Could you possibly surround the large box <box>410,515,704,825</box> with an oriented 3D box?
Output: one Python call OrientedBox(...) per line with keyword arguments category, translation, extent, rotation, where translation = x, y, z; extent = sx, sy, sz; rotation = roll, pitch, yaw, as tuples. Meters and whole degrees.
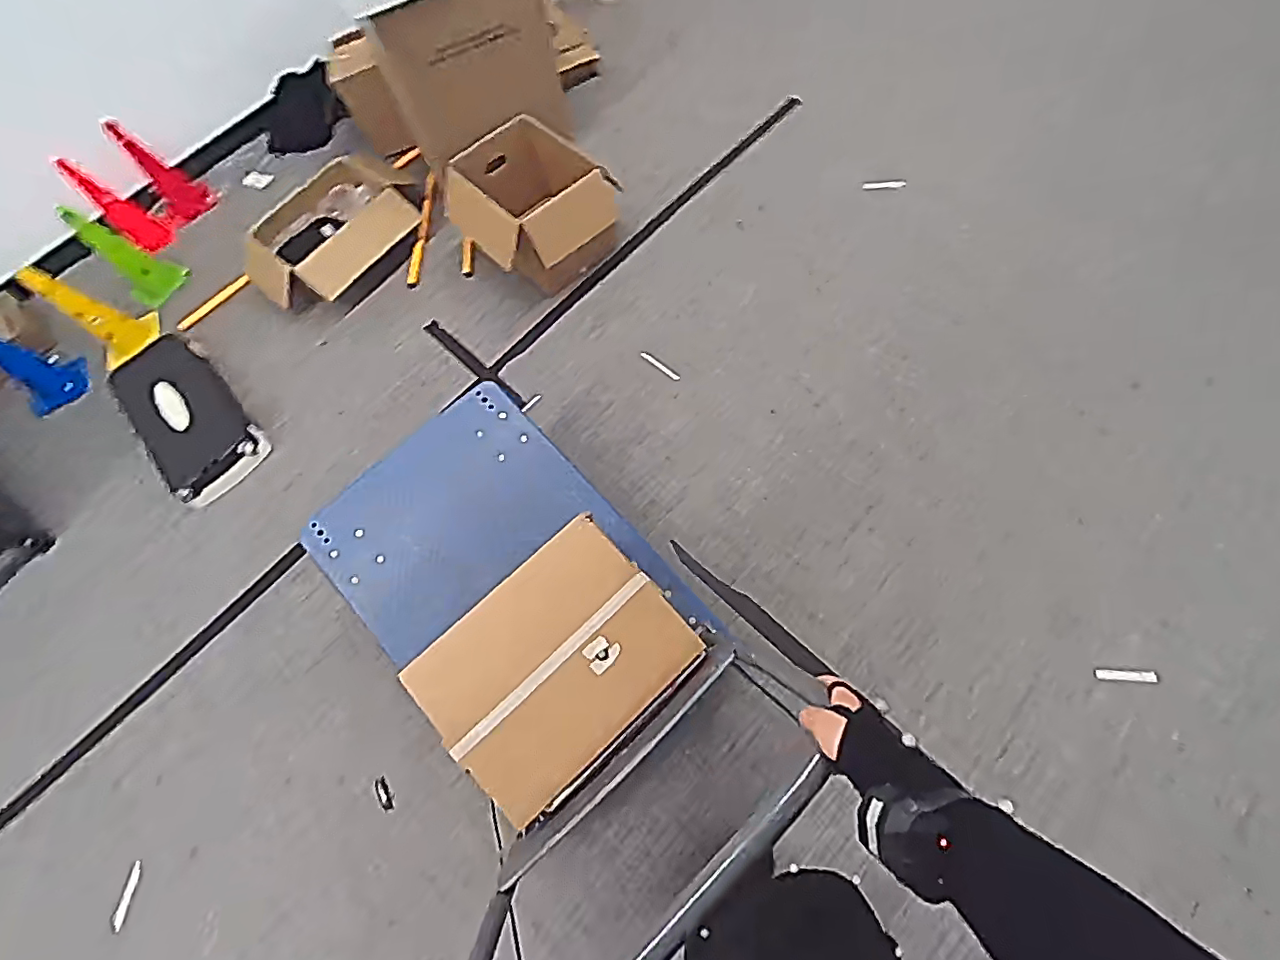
OrientedBox(category="large box", translation=(-0.139, 0.339, 1.039), extent=(0.408, 0.320, 0.320), rotation=(-42, 81, -11))
